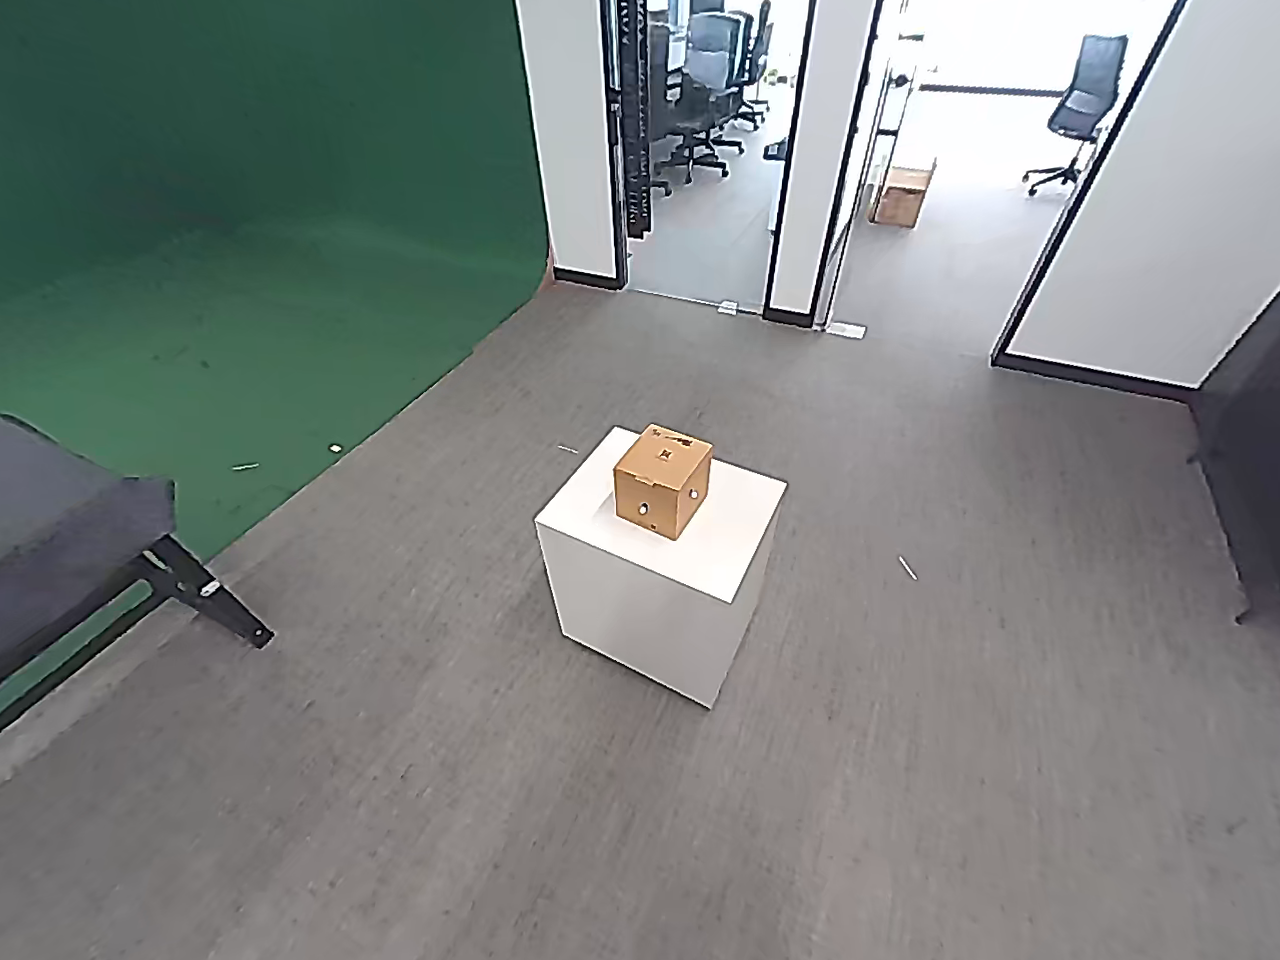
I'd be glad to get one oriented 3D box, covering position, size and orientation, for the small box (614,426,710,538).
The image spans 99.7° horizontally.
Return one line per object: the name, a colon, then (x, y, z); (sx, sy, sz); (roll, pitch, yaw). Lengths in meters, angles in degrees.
small box: (0.055, 0.007, 1.278); (0.168, 0.176, 0.179); (20, 48, 20)
